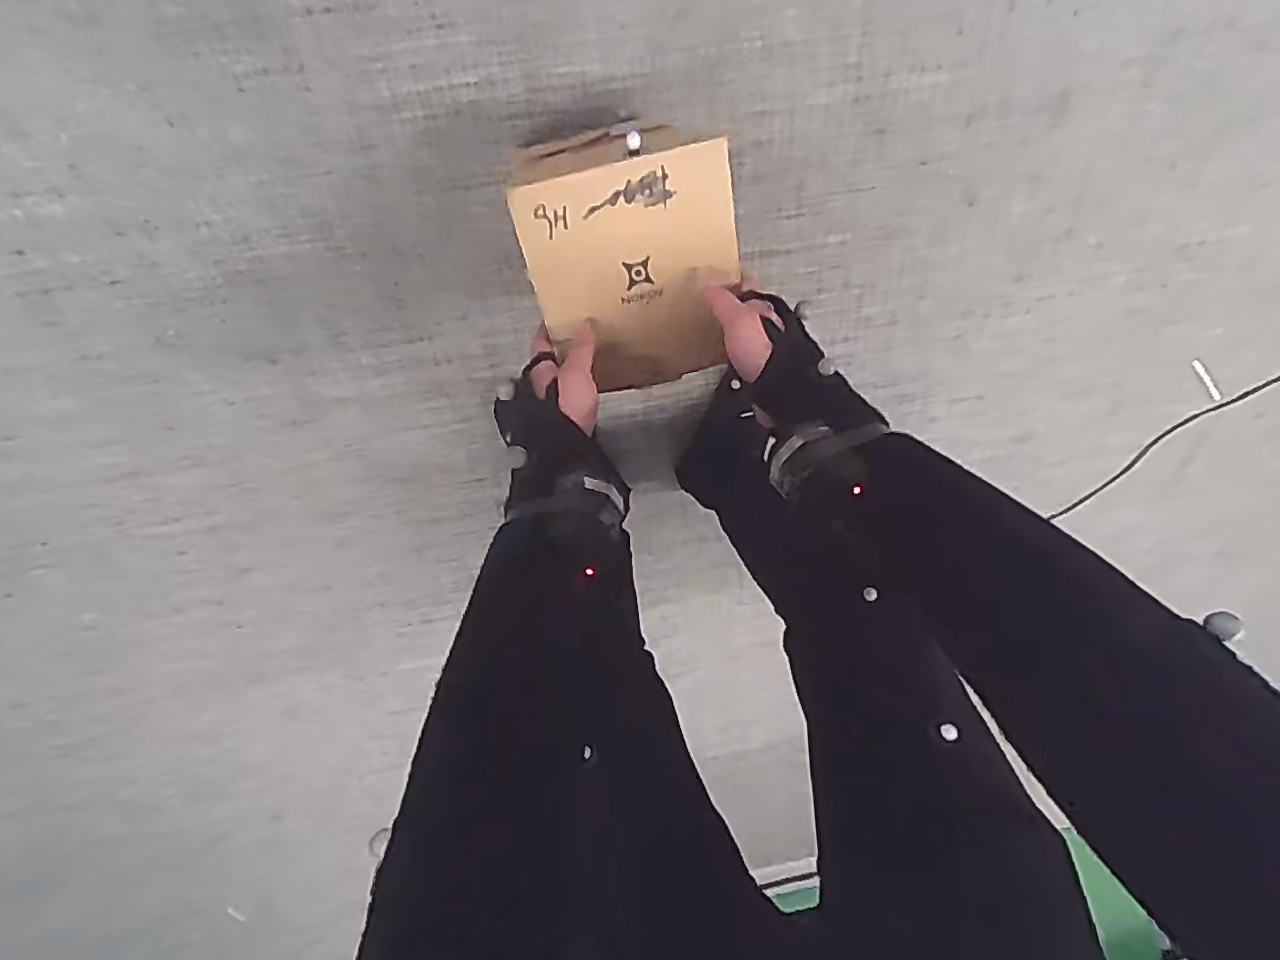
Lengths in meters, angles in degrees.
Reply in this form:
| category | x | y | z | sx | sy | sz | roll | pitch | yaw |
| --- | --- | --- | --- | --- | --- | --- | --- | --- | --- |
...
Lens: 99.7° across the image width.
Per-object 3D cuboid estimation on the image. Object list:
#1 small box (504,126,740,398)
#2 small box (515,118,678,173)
| category | x | y | z | sx | sy | sz | roll | pitch | yaw |
| --- | --- | --- | --- | --- | --- | --- | --- | --- | --- |
| small box | -0.012 | -0.204 | 0.499 | 0.168 | 0.176 | 0.179 | -13 | 127 | 1 |
| small box | -0.040 | -0.304 | 0.630 | 0.168 | 0.176 | 0.179 | -14 | 127 | 1 |
